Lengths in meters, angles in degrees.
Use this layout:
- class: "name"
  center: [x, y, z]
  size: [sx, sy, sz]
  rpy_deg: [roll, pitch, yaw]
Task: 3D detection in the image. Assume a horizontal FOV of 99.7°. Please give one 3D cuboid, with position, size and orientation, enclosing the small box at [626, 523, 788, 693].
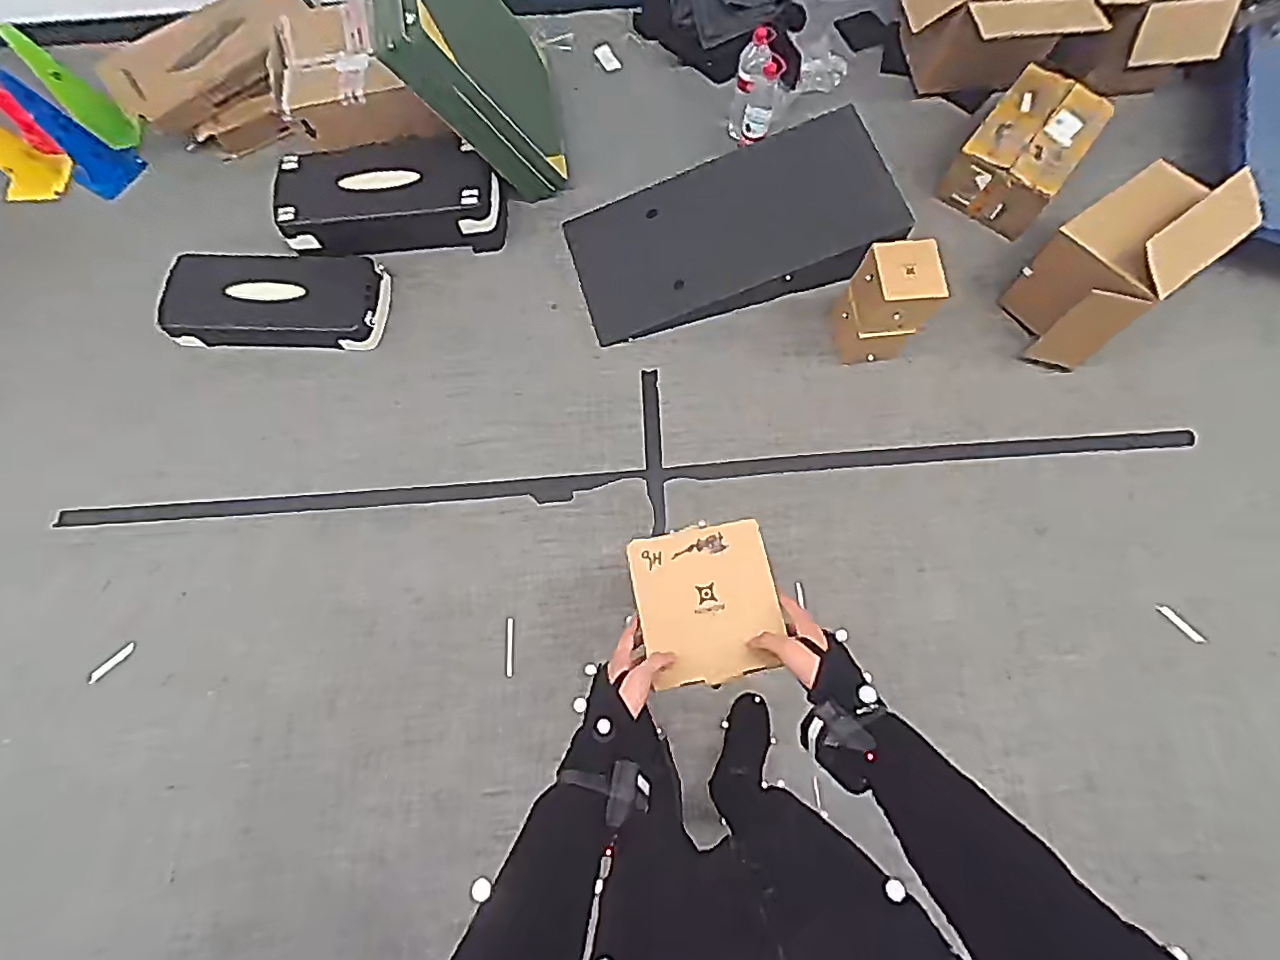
- class: "small box"
  center: [0.078, 0.169, 0.715]
  size: [0.168, 0.176, 0.179]
  rpy_deg: [-10, 74, -3]
